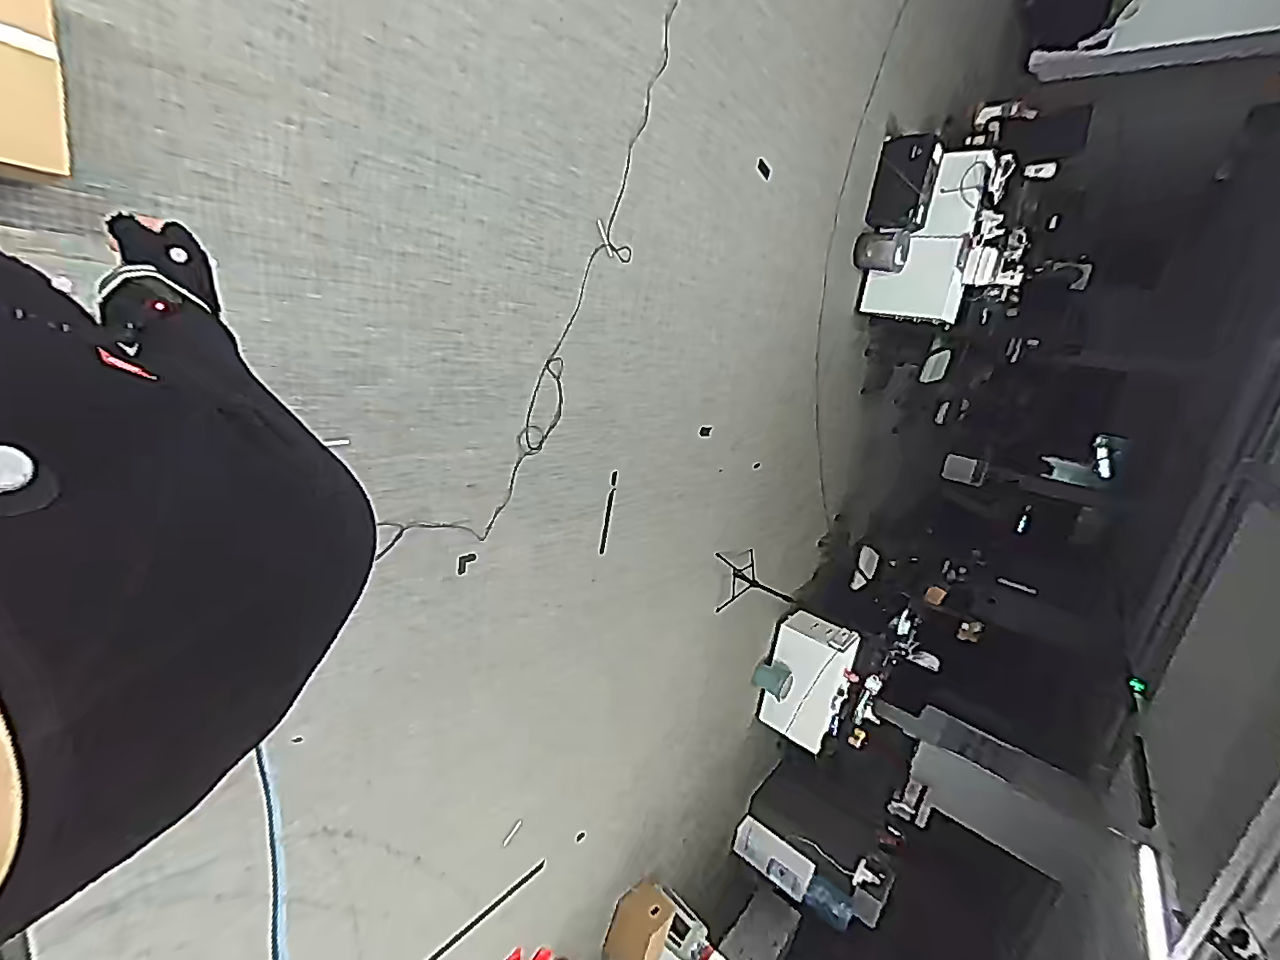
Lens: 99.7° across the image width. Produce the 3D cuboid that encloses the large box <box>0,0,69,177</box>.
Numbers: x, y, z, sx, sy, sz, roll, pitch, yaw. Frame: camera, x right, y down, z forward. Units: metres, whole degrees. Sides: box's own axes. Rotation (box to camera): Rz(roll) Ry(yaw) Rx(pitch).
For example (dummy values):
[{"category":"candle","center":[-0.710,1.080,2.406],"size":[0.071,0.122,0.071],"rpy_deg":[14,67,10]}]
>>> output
[{"category":"large box","center":[-1.043,-0.610,0.673],"size":[0.408,0.320,0.320],"rpy_deg":[-10,115,-51]}]
